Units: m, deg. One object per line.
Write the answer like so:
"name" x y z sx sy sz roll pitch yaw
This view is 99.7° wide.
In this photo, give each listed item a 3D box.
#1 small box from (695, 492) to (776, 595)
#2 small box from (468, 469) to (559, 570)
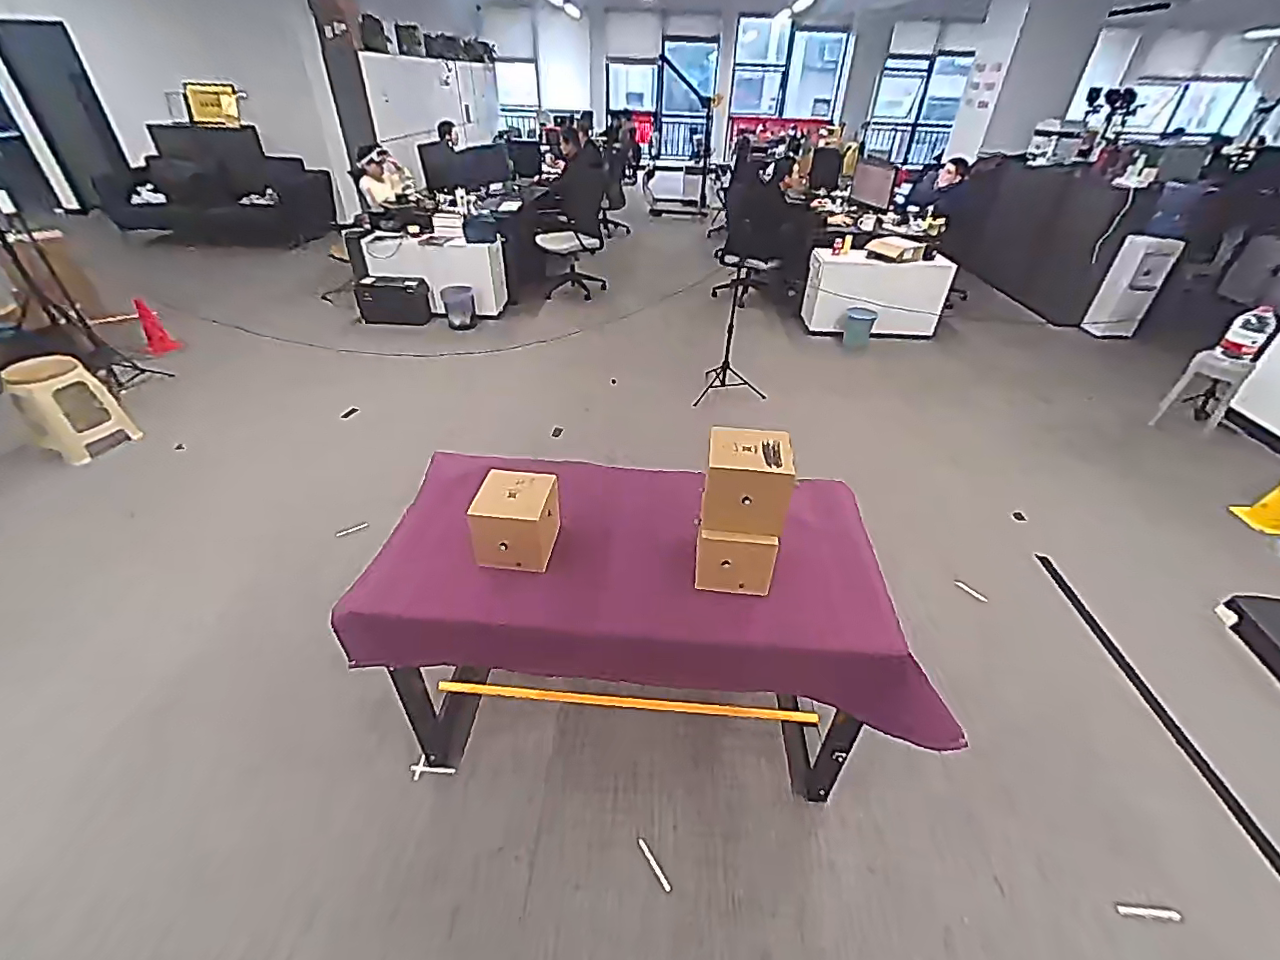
"small box" 0.220 0.150 1.271 0.168 0.176 0.179 5 36 4
"small box" -0.296 0.097 1.310 0.168 0.176 0.179 6 37 4
